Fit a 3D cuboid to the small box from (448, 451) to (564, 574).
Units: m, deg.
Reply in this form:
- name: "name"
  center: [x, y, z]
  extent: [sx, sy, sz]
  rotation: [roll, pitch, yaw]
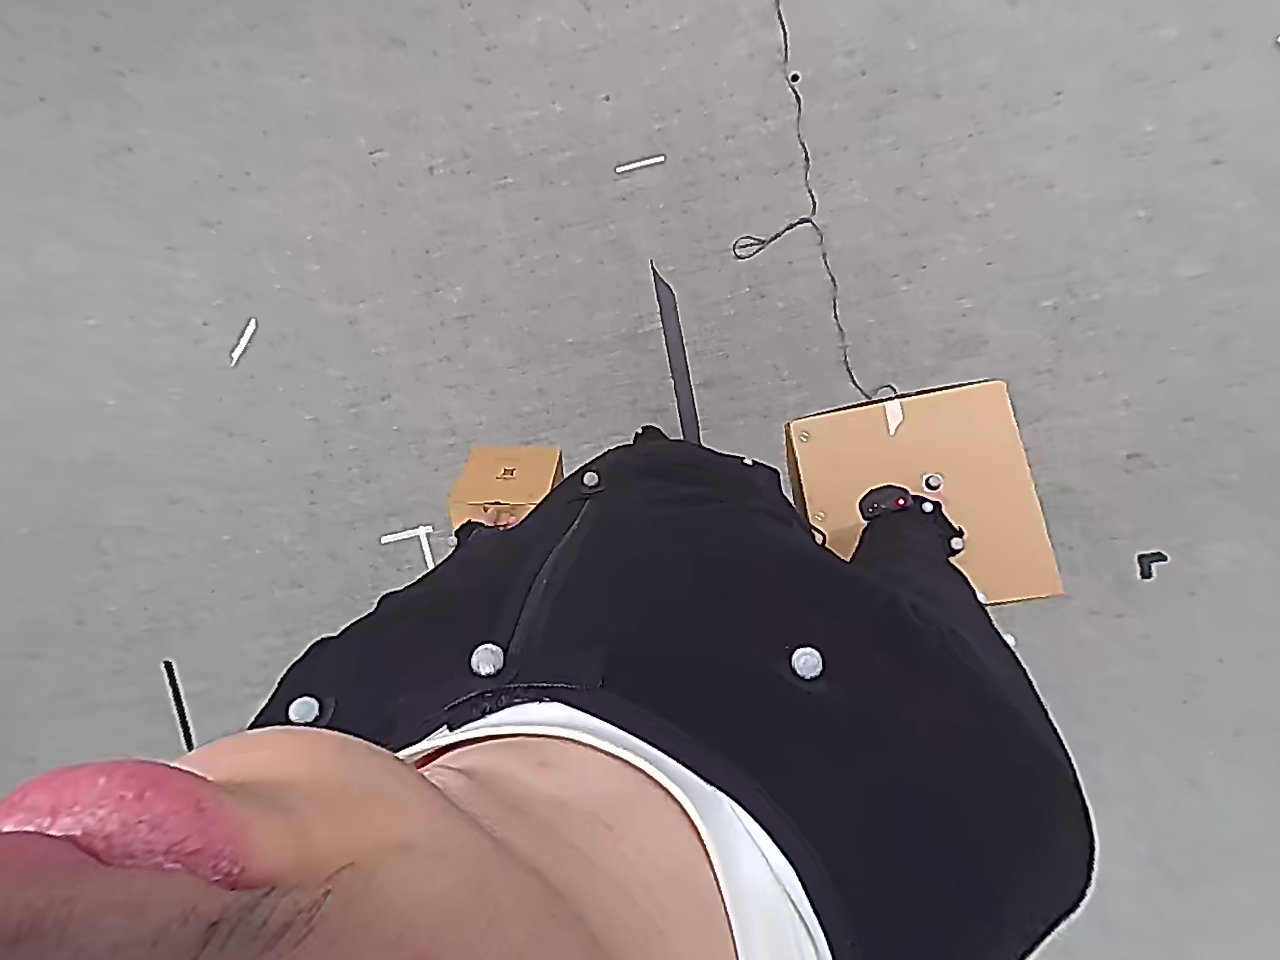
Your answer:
- name: "small box"
  center: [-0.237, 0.061, 1.011]
  extent: [0.168, 0.179, 0.176]
  rotation: [1, 124, 0]
